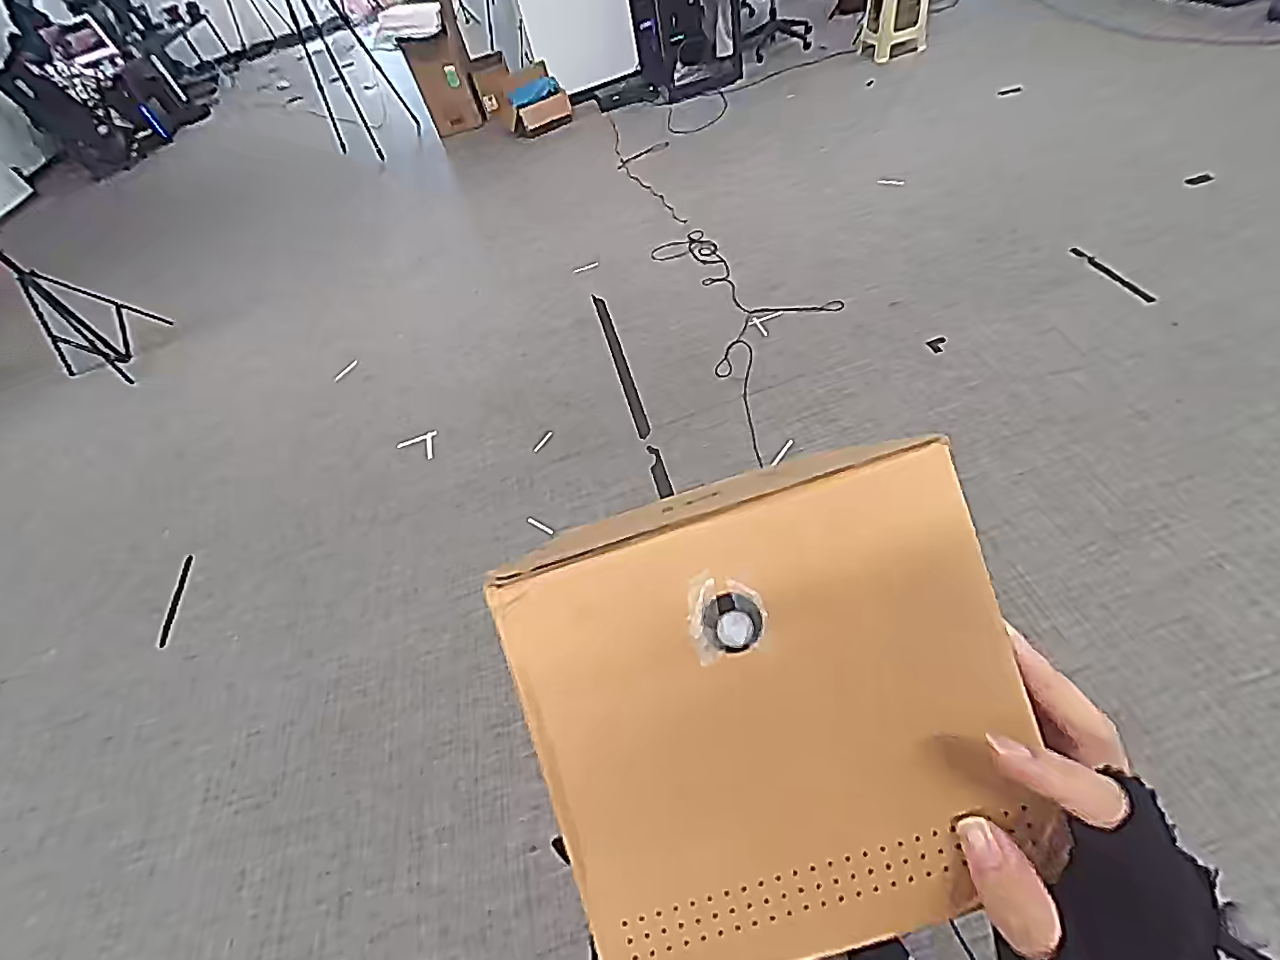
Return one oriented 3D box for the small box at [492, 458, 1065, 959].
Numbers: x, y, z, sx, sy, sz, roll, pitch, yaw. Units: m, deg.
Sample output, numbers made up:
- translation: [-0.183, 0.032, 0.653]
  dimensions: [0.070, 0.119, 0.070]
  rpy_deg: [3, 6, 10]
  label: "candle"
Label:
- translation: [0.055, 0.098, 0.273]
  dimensions: [0.179, 0.168, 0.176]
  rpy_deg: [-18, 90, 3]
  label: "small box"
